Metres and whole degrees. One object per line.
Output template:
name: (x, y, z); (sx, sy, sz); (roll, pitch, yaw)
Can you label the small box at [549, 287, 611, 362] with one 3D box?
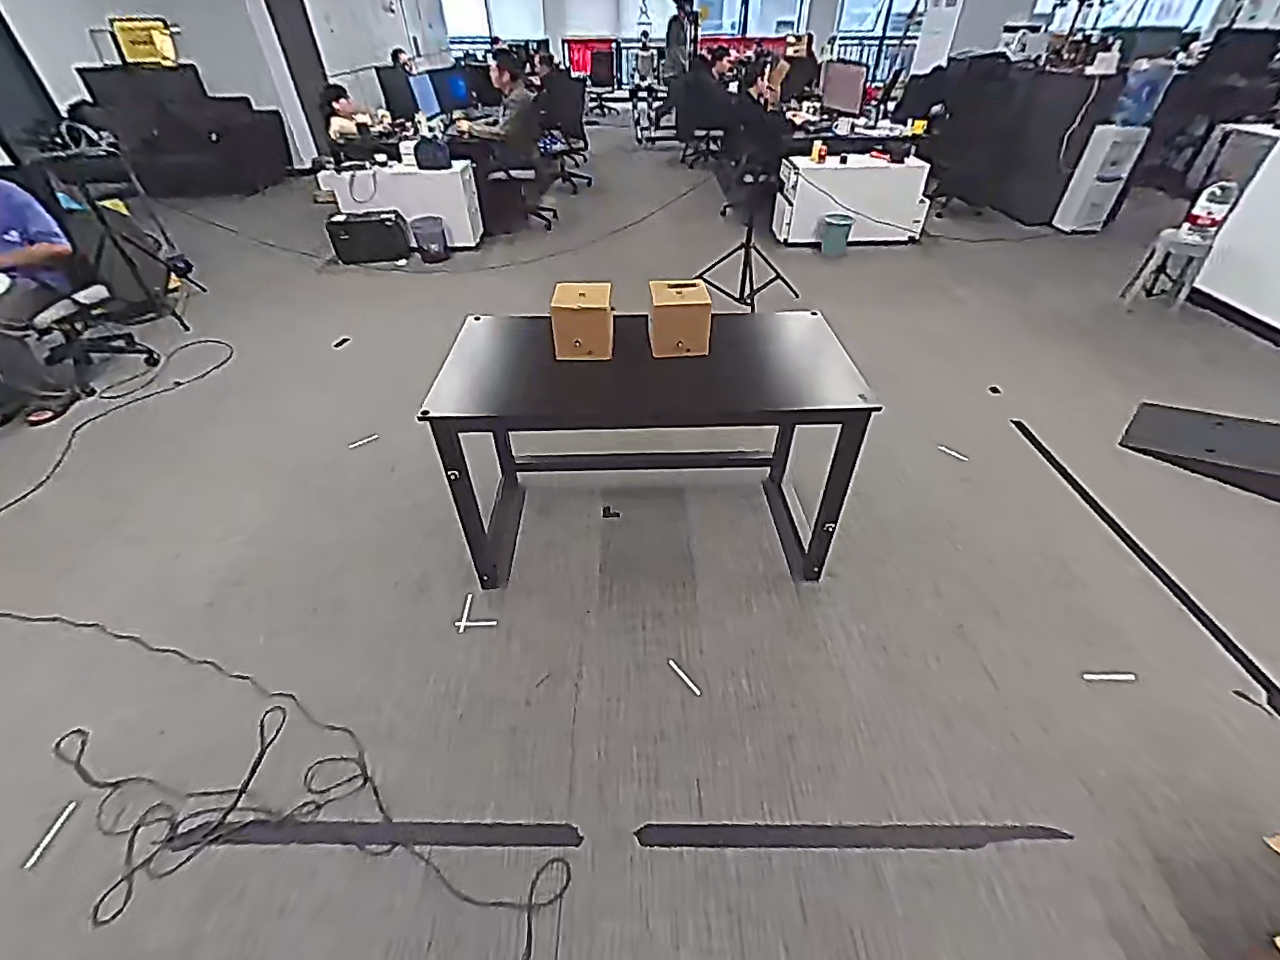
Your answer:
small box: (-0.175, -0.472, 1.636); (0.168, 0.176, 0.179); (-1, 41, 0)
